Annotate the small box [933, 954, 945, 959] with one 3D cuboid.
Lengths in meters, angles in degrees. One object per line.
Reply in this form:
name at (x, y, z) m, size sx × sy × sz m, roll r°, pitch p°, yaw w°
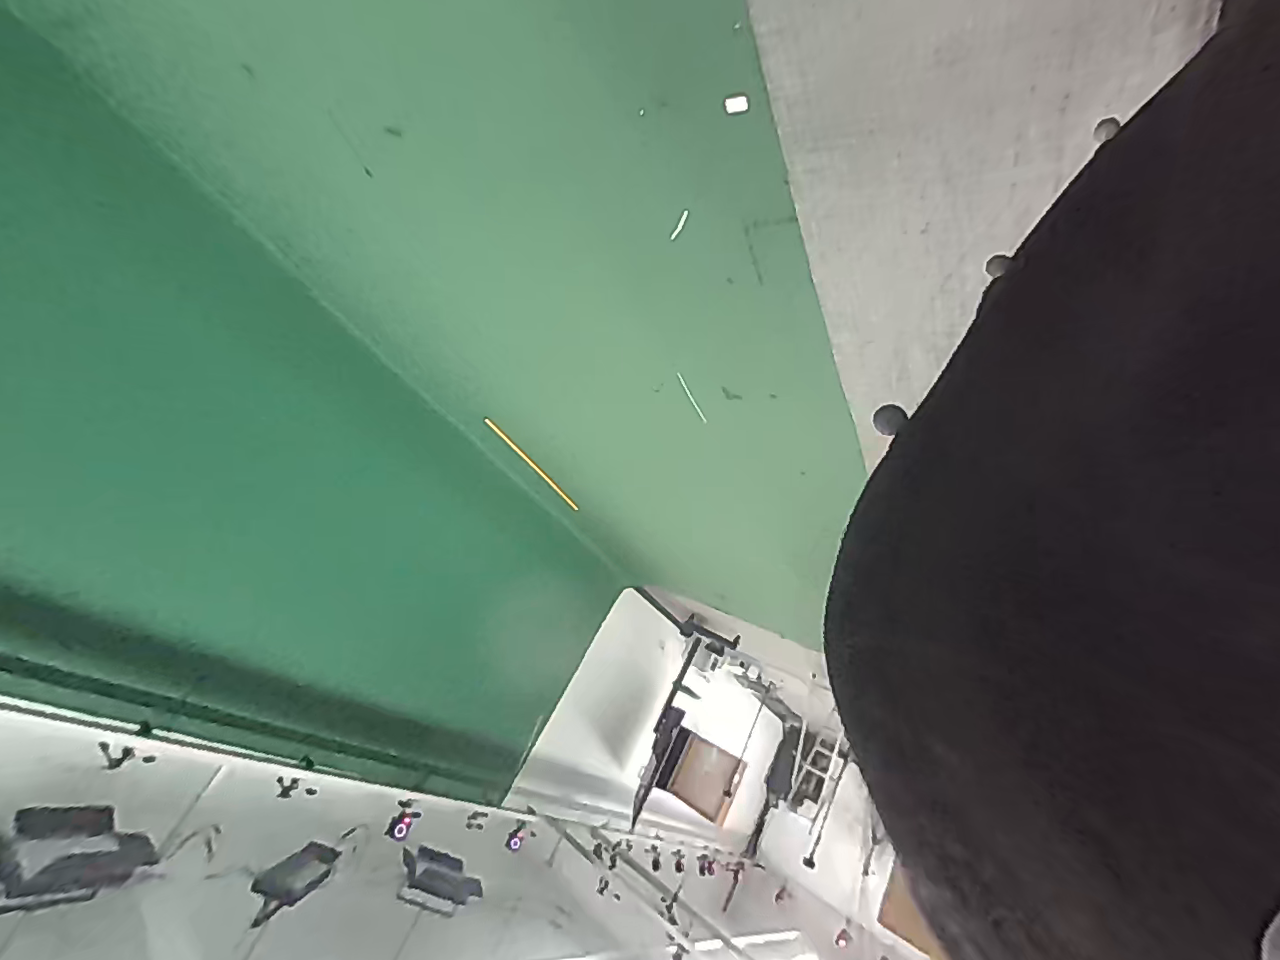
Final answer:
small box at (1.092, 1.795, 1.872) m, size 0.168 × 0.176 × 0.179 m, roll 19°, pitch 156°, yaw 32°
